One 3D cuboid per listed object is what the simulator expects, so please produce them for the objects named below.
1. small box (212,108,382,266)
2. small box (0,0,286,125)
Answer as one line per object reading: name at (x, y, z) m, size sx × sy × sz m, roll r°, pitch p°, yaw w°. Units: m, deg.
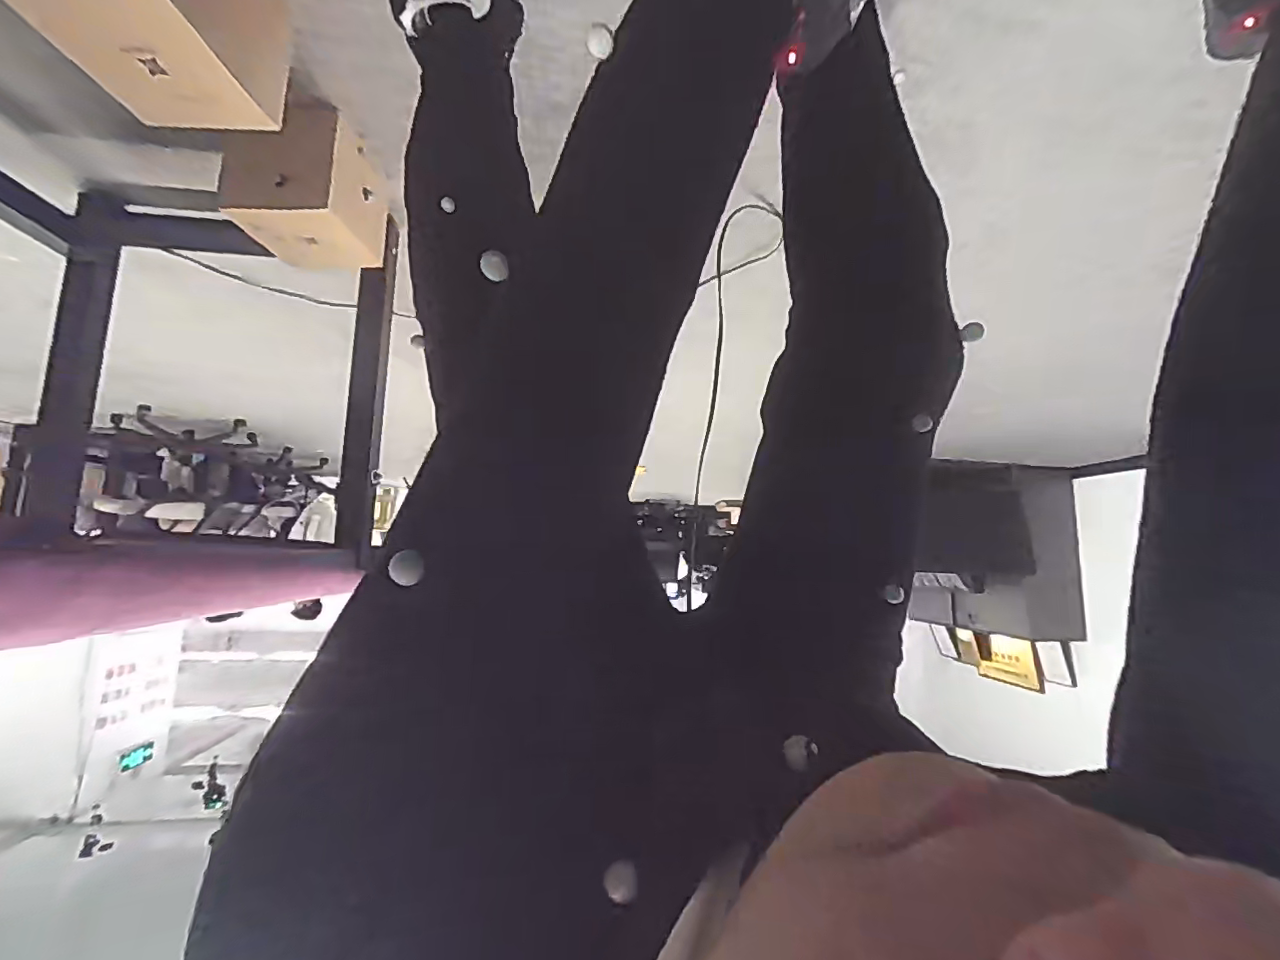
small box at (-0.537, -0.466, 0.872) m, size 0.179 × 0.176 × 0.168 m, roll 1°, pitch 172°, yaw 1°
small box at (-0.505, -0.512, 0.560) m, size 0.168 × 0.176 × 0.179 m, roll 2°, pitch 172°, yaw 0°
